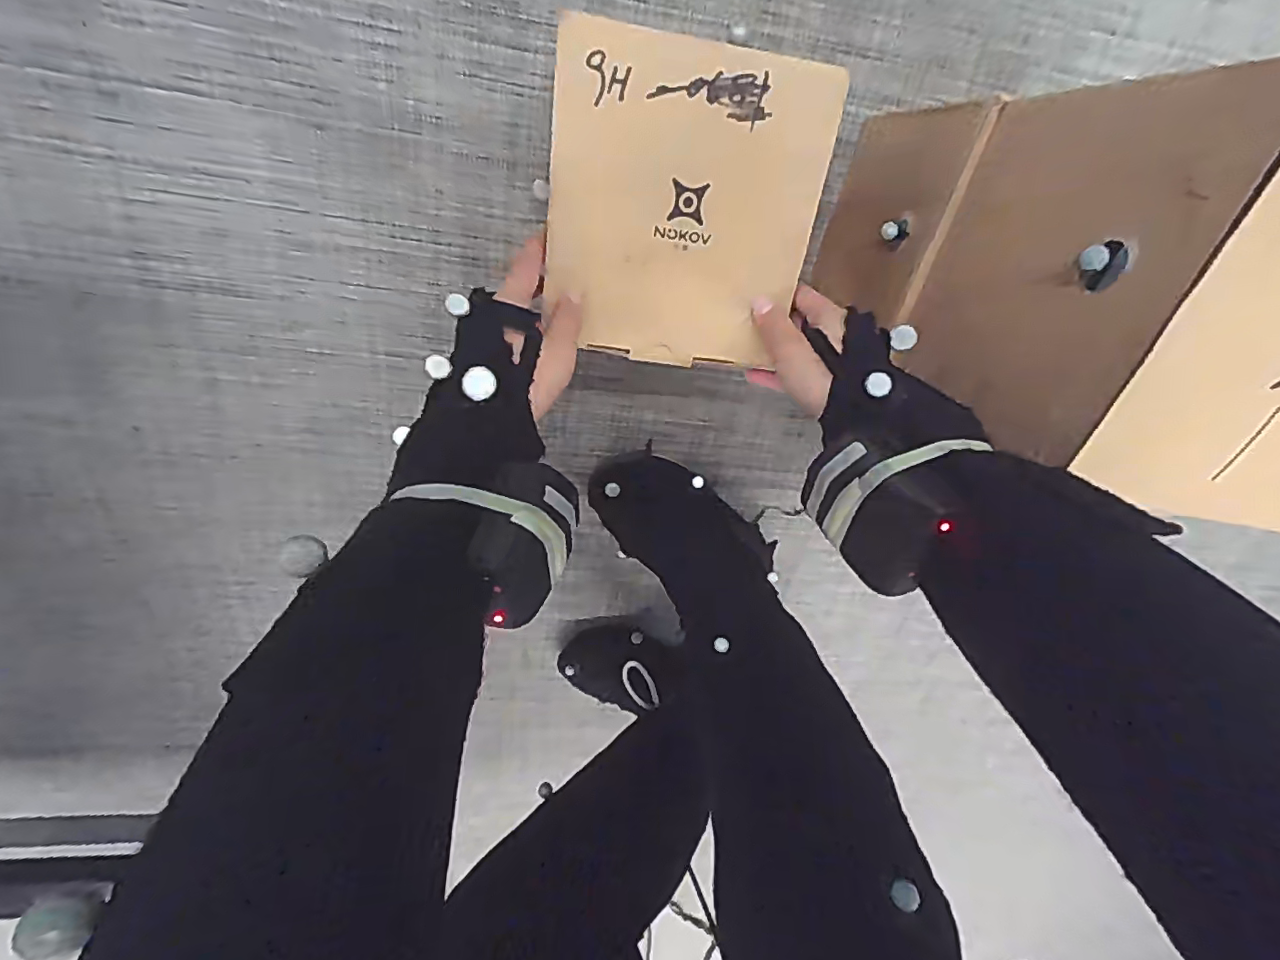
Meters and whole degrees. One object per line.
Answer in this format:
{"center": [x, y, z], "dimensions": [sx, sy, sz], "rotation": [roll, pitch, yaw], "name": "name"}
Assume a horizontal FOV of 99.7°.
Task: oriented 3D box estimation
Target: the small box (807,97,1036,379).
{"center": [0.262, -0.181, 0.444], "dimensions": [0.168, 0.176, 0.179], "rotation": [9, 119, -11], "name": "small box"}

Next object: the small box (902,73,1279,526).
{"center": [0.285, -0.099, 0.304], "dimensions": [0.168, 0.176, 0.179], "rotation": [9, 118, -10], "name": "small box"}
